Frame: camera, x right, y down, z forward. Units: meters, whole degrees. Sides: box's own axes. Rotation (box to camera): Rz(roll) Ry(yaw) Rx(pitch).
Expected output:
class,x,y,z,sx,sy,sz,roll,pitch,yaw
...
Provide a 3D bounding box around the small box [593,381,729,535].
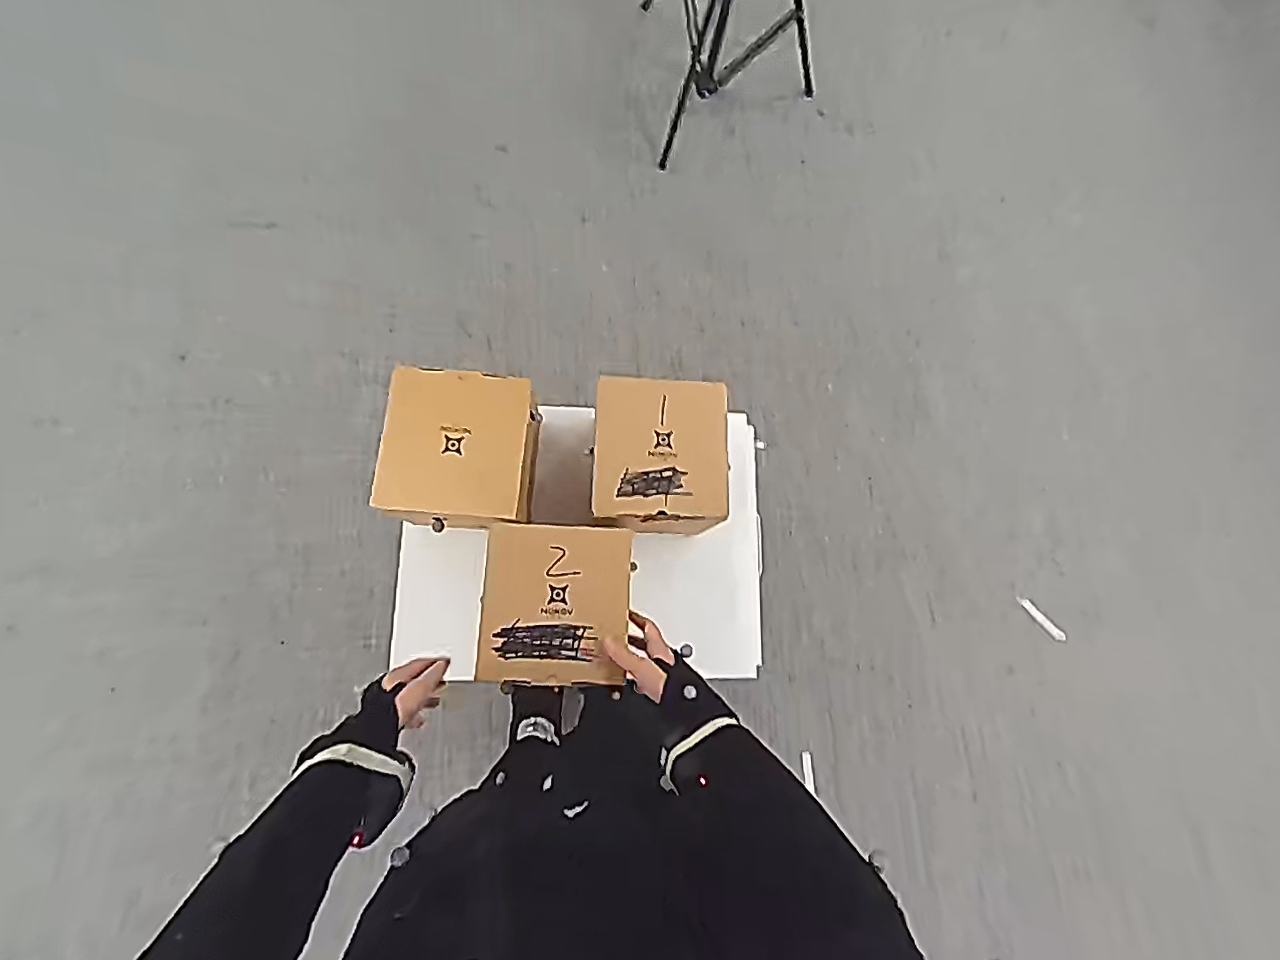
class,x,y,z,sx,sy,sz,roll,pitch,yaw
small box,0.022,-0.020,0.737,0.168,0.176,0.179,1,77,-5

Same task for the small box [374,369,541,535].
class,x,y,z,sx,sy,sz,roll,pitch,yaw
small box,-0.224,-0.025,0.713,0.168,0.176,0.179,5,77,-6
